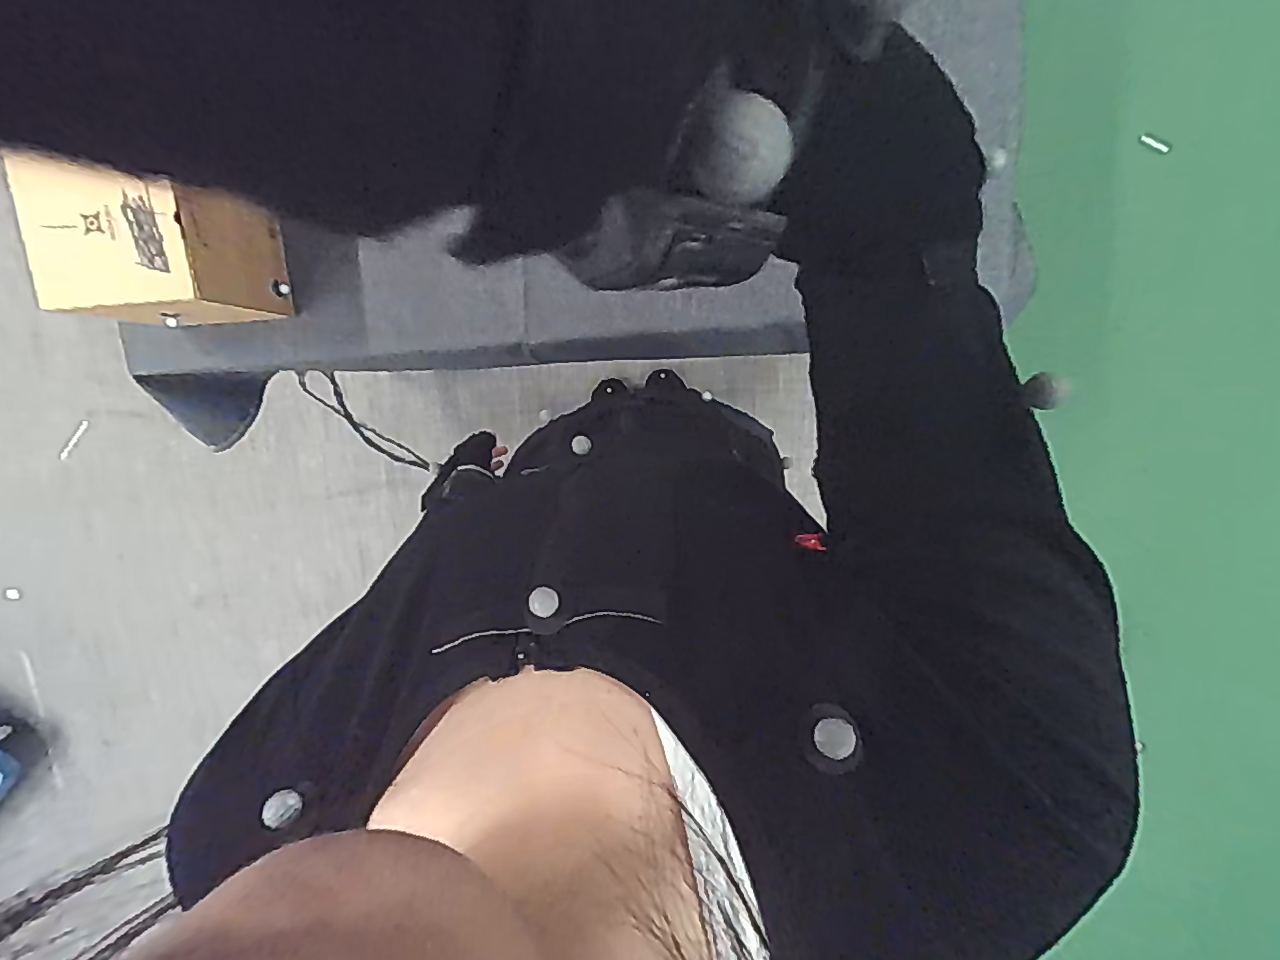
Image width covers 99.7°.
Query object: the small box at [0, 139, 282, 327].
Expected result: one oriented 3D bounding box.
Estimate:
[{"bbox_3d":[-0.563,-0.278,0.644,0.179,0.176,0.168,-4,99,2],"label":"small box"}]
